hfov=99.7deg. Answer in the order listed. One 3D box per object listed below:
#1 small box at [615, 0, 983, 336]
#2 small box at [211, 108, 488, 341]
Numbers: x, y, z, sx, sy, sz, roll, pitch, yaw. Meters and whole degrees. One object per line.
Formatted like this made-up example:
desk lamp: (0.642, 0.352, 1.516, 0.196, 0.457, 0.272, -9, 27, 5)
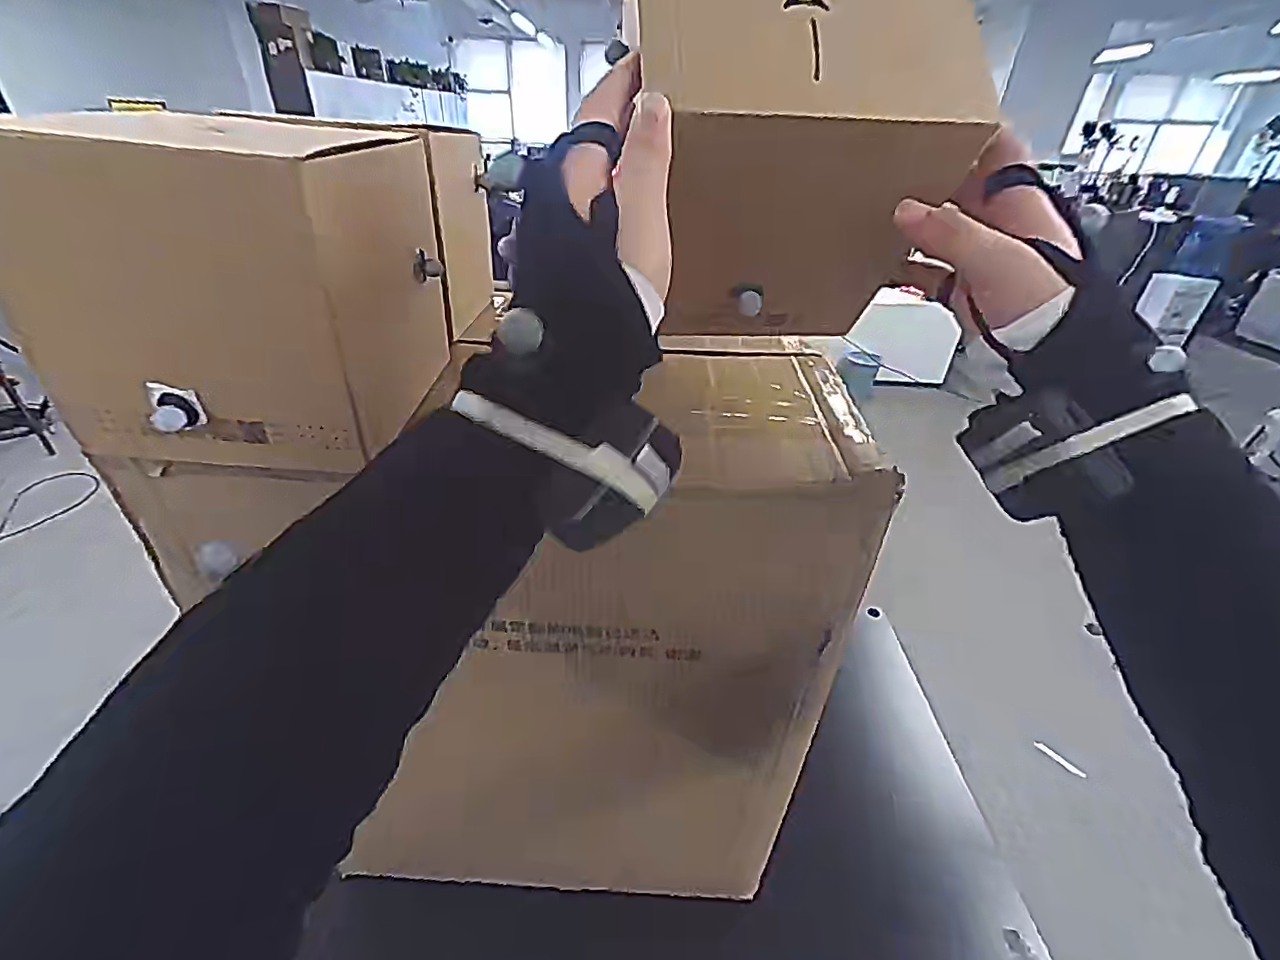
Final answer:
small box: (0.070, -0.217, 0.348, 0.168, 0.176, 0.179, -1, 70, -4)
small box: (-0.249, -0.243, 0.520, 0.168, 0.176, 0.179, 2, 31, -2)
